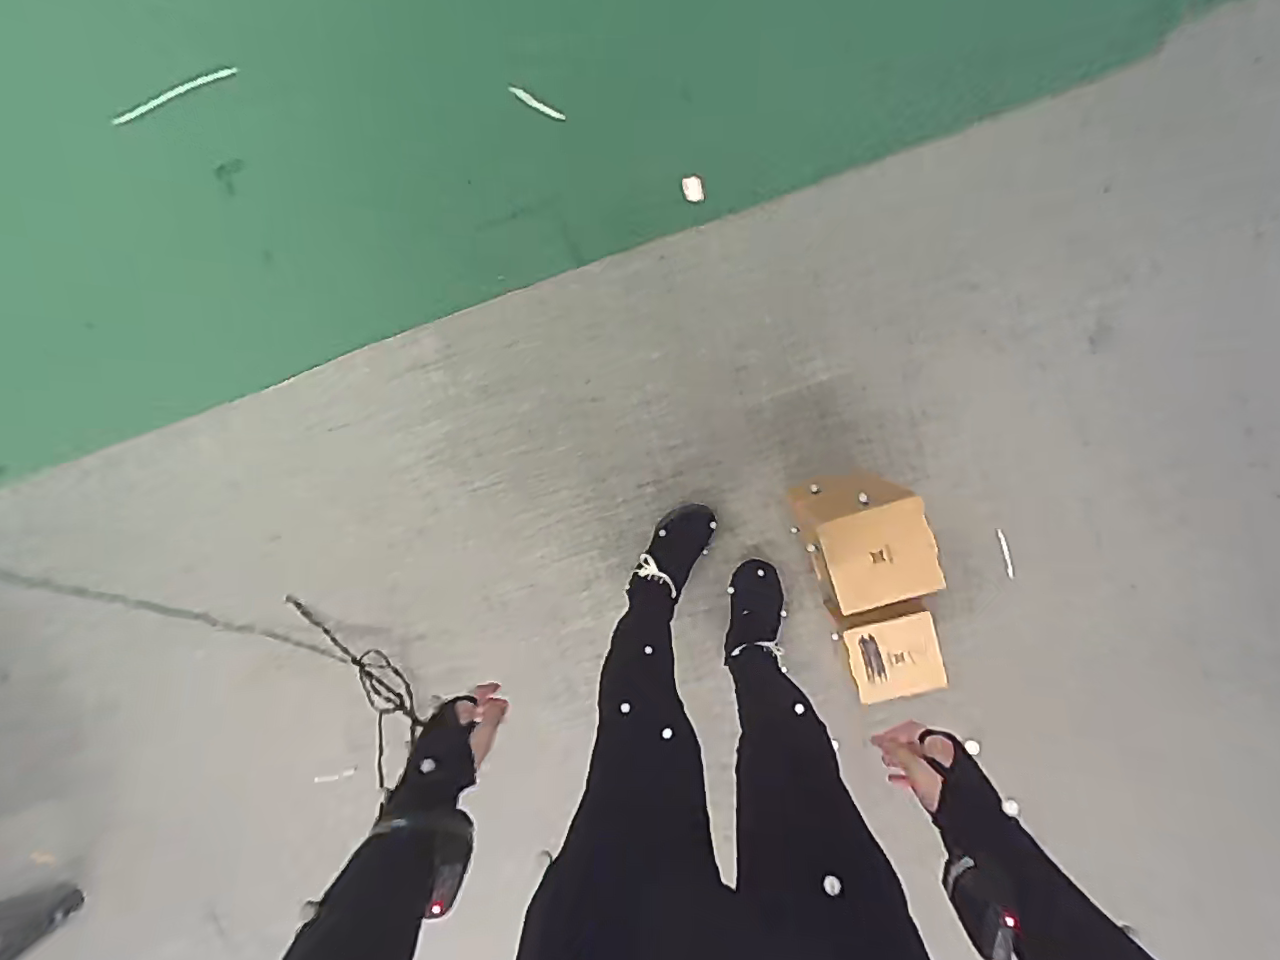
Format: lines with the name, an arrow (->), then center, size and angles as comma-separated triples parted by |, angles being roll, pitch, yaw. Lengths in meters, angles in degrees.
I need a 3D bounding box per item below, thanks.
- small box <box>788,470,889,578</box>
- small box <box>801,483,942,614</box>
small box -> 0.410, 0.085, 1.112 | 0.179, 0.176, 0.168 | -13, 98, 8
small box -> 0.393, 0.112, 0.953 | 0.179, 0.176, 0.168 | -16, 97, 8
